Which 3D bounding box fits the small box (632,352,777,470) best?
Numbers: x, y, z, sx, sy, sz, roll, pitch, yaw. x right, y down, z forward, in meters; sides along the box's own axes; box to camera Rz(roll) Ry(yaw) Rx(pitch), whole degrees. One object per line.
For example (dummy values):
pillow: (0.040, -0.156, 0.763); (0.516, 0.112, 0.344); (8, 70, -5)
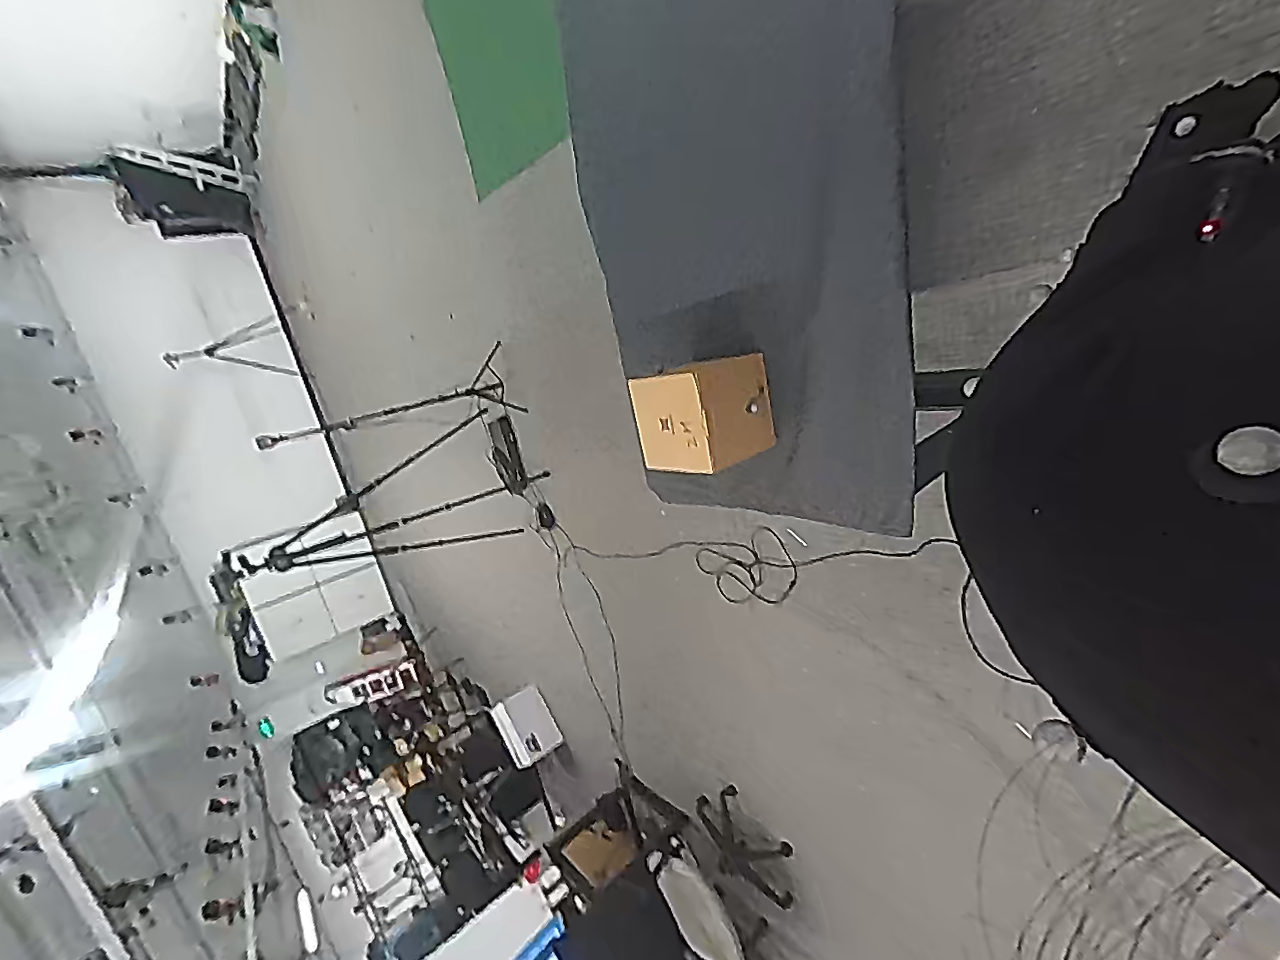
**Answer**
small box: (0.115, -0.125, 0.960); (0.179, 0.176, 0.168); (6, 113, 52)
